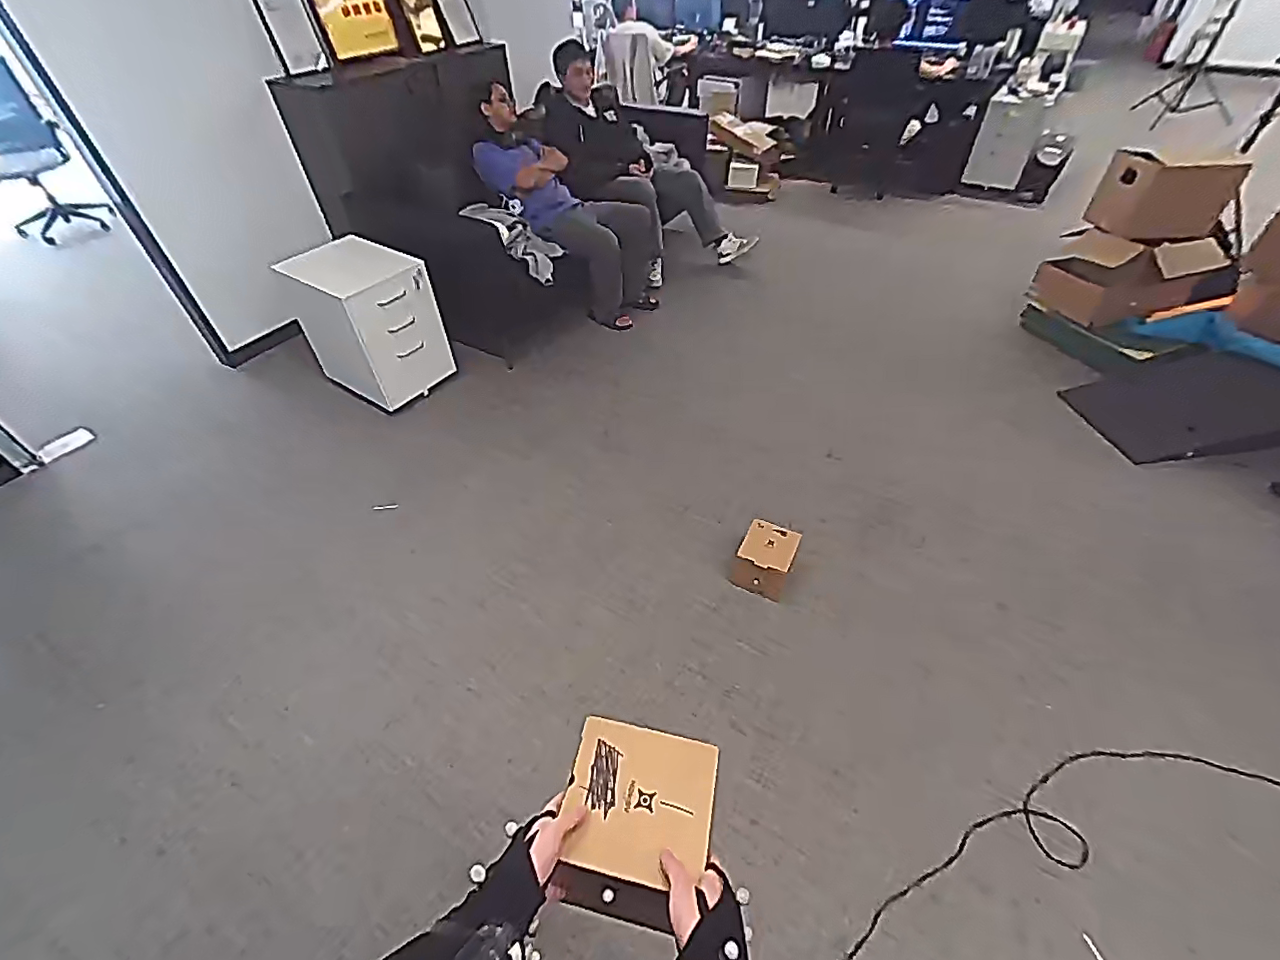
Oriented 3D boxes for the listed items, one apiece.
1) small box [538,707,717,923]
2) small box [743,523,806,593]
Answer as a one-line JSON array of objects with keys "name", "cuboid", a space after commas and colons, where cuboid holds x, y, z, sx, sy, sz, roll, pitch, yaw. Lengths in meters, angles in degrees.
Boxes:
[{"name": "small box", "cuboid": [-0.009, 0.428, 0.691, 0.179, 0.176, 0.168, 12, 42, 12]}, {"name": "small box", "cuboid": [0.443, 0.264, 1.810, 0.179, 0.176, 0.168, -3, 43, 1]}]
